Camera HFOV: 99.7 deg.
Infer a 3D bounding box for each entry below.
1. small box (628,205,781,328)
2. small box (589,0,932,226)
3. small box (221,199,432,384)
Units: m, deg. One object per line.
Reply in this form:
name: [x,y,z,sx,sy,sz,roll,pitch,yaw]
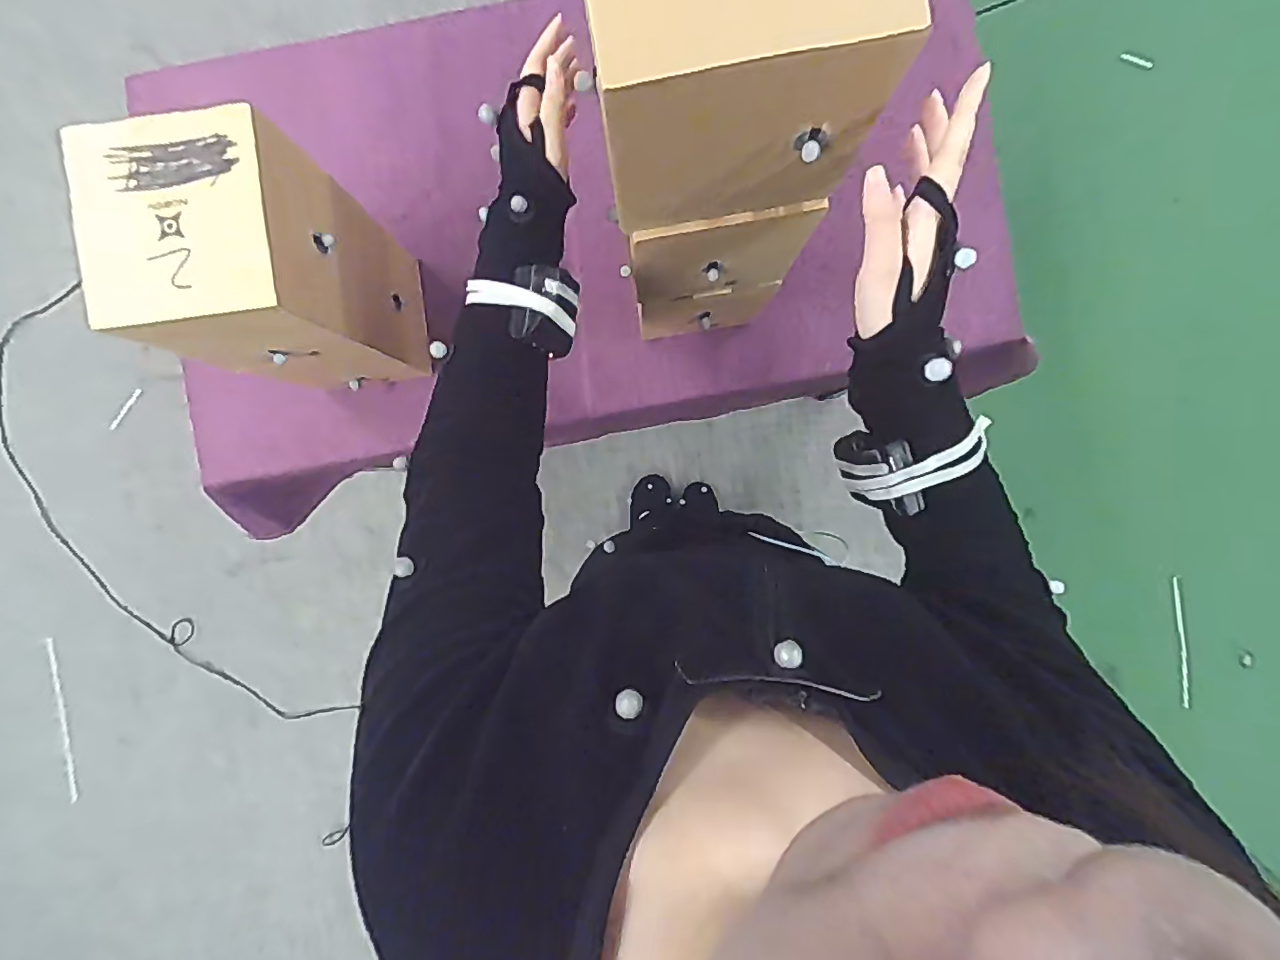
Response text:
small box: [0.072,-0.302,0.691,0.168,0.176,0.179,-8,92,1]
small box: [0.058,-0.298,0.362,0.179,0.176,0.168,-9,90,2]
small box: [-0.389,-0.230,0.701,0.168,0.176,0.179,-7,92,1]
